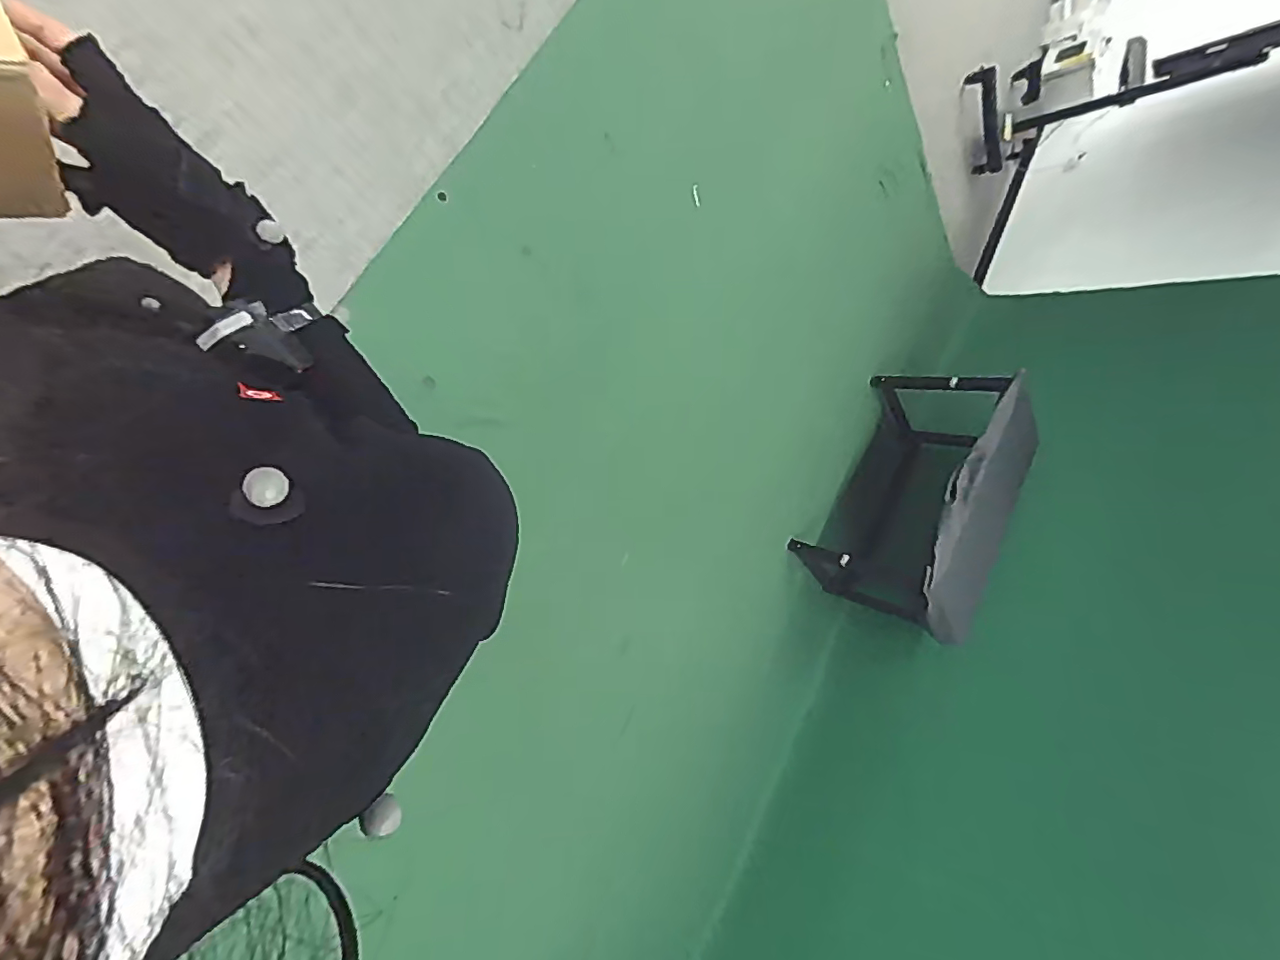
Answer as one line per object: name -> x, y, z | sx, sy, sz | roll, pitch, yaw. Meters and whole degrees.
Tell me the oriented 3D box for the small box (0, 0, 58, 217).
small box -> -0.424, -0.244, 0.248 | 0.168, 0.176, 0.179 | -28, 106, -41
